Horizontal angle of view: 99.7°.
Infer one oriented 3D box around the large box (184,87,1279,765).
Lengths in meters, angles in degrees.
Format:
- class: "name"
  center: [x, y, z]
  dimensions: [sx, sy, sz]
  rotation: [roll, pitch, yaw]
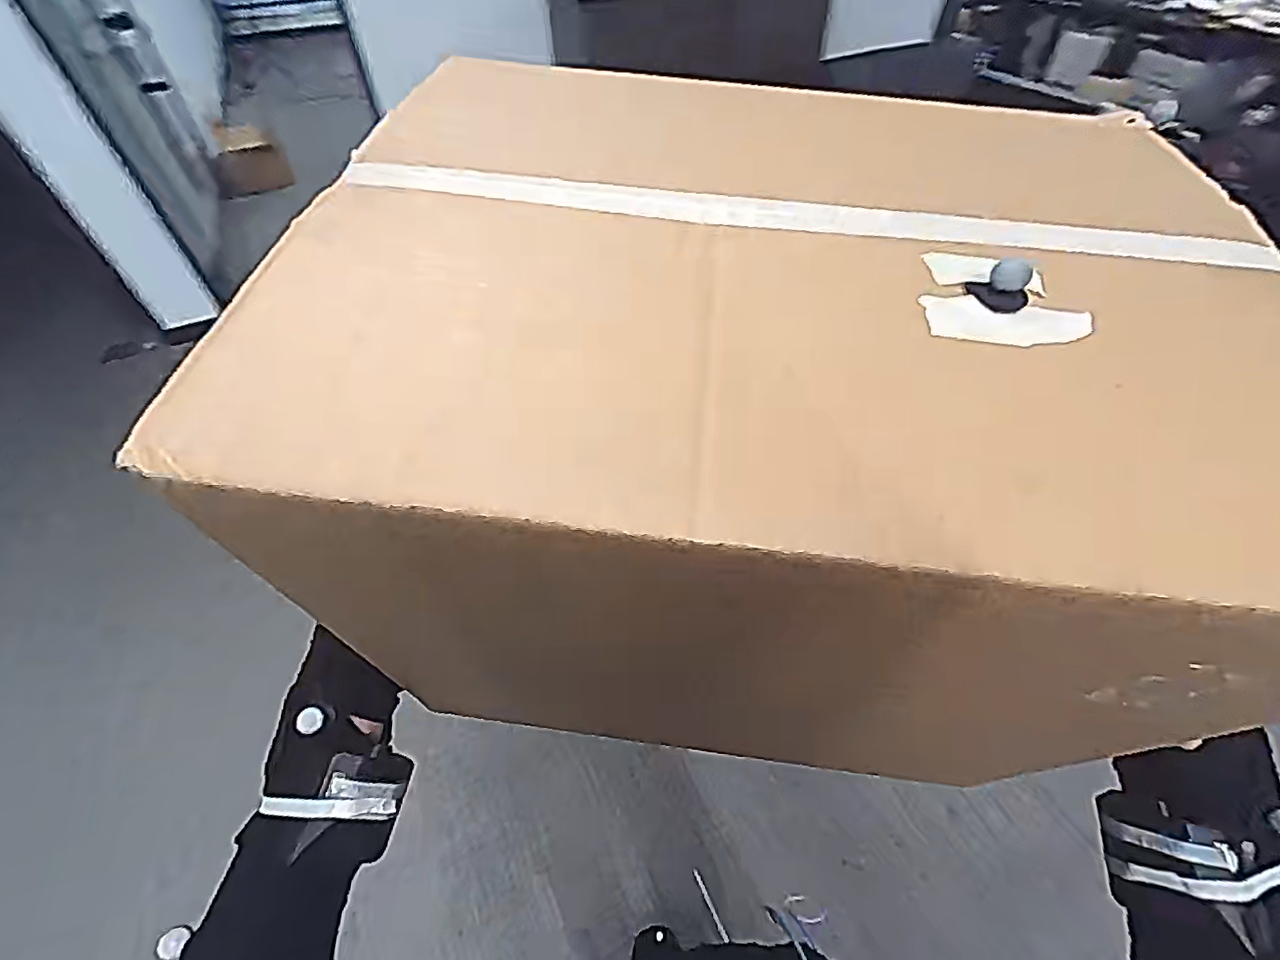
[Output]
- class: "large box"
  center: [0.060, -0.017, 0.370]
  dimensions: [0.408, 0.320, 0.320]
  rotation: [7, 55, 1]
